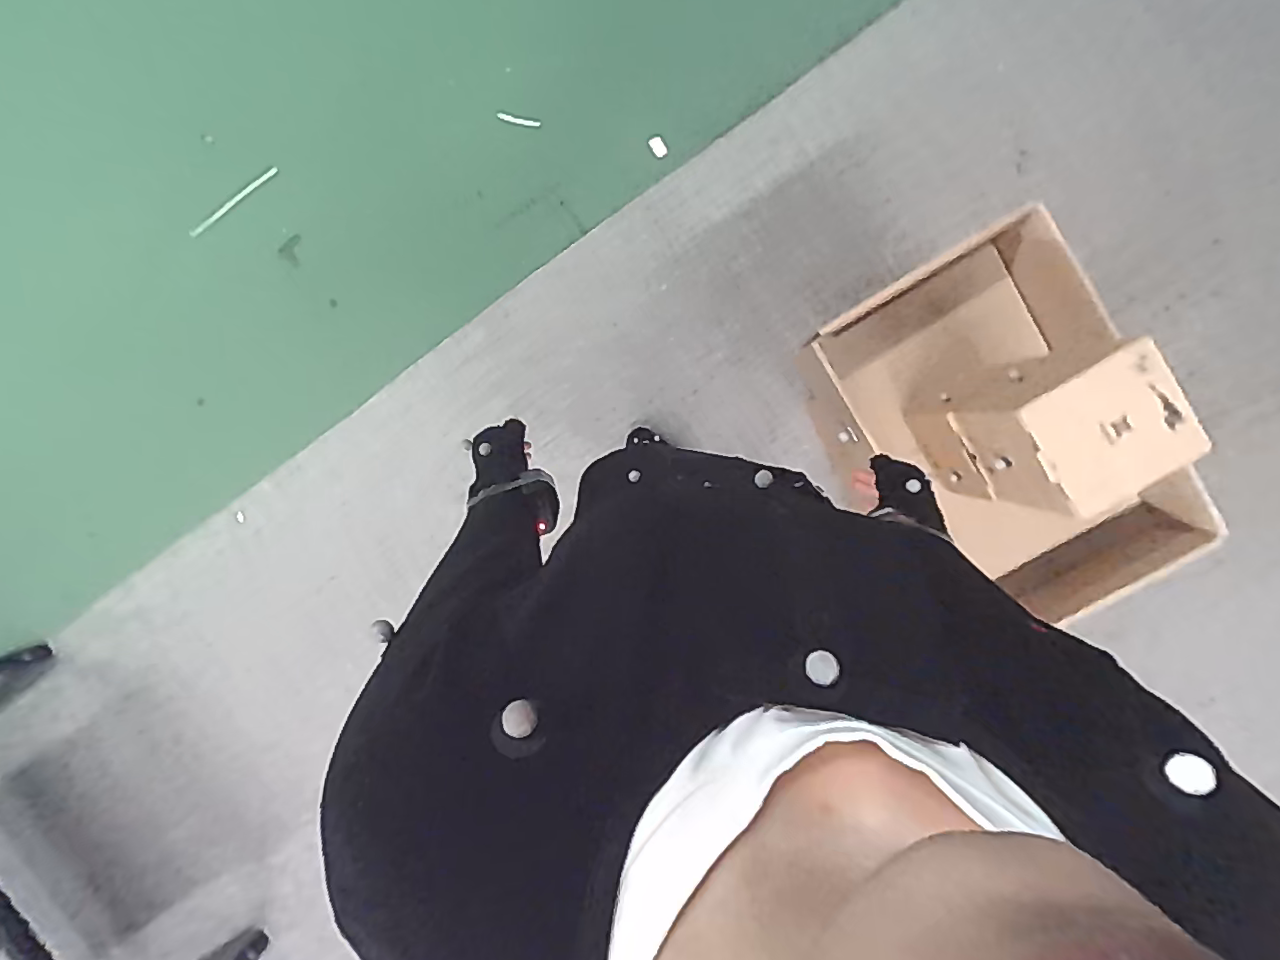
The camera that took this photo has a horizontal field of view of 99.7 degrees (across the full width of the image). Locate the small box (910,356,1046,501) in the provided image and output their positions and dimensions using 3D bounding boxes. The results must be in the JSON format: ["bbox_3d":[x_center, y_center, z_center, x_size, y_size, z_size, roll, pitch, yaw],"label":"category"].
[{"bbox_3d":[0.592,-0.084,0.916,0.179,0.176,0.168,-32,93,5],"label":"small box"}]

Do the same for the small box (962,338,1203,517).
[{"bbox_3d":[0.589,-0.070,0.753,0.179,0.176,0.168,-31,93,7],"label":"small box"}]
